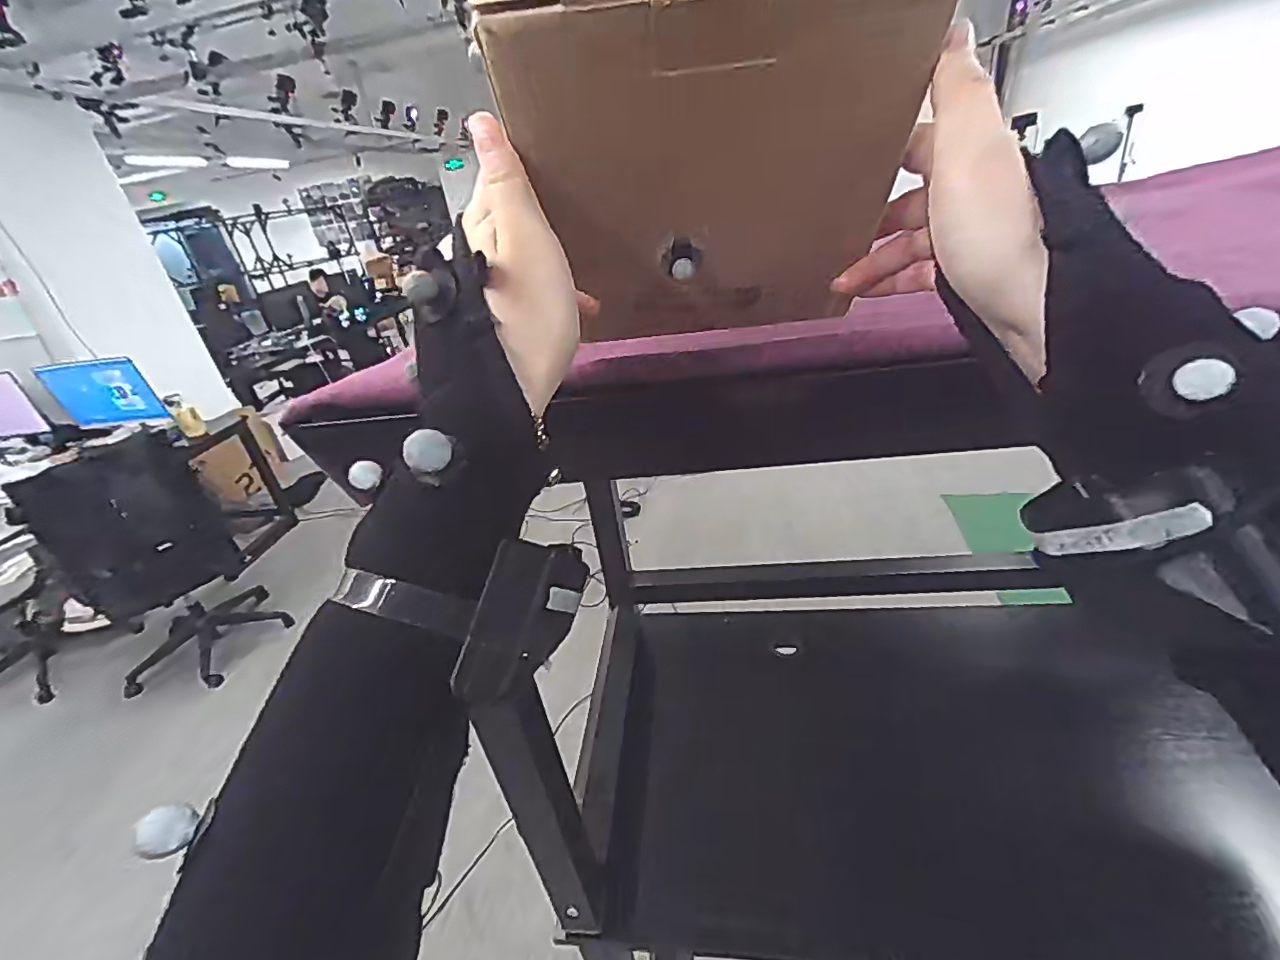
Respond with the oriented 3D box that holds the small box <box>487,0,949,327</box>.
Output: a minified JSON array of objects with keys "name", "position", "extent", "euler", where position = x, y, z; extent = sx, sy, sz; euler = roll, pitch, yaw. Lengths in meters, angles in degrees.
[{"name":"small box","position":[0.029,-0.209,0.288],"extent":[0.168,0.176,0.179],"euler":[-5,63,4]}]
